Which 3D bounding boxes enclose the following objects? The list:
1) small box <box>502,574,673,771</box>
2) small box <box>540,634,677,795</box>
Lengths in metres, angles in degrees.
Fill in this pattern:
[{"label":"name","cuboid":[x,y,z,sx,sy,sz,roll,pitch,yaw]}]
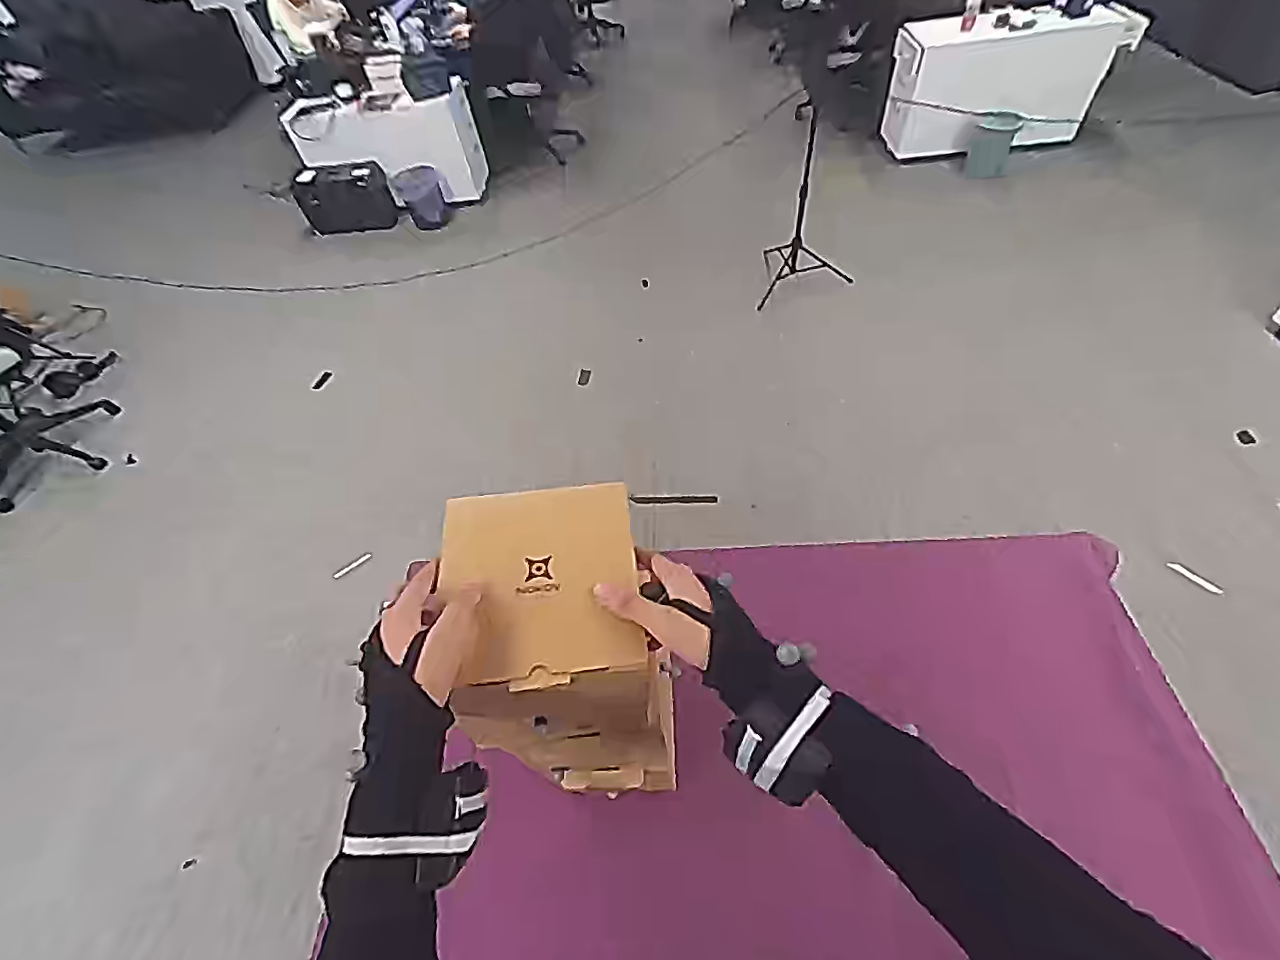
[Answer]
[{"label":"small box","cuboid":[-0.053,0.234,0.640,0.168,0.176,0.179,-6,51,2]},{"label":"small box","cuboid":[-0.035,0.335,0.768,0.168,0.176,0.179,-4,52,5]}]
